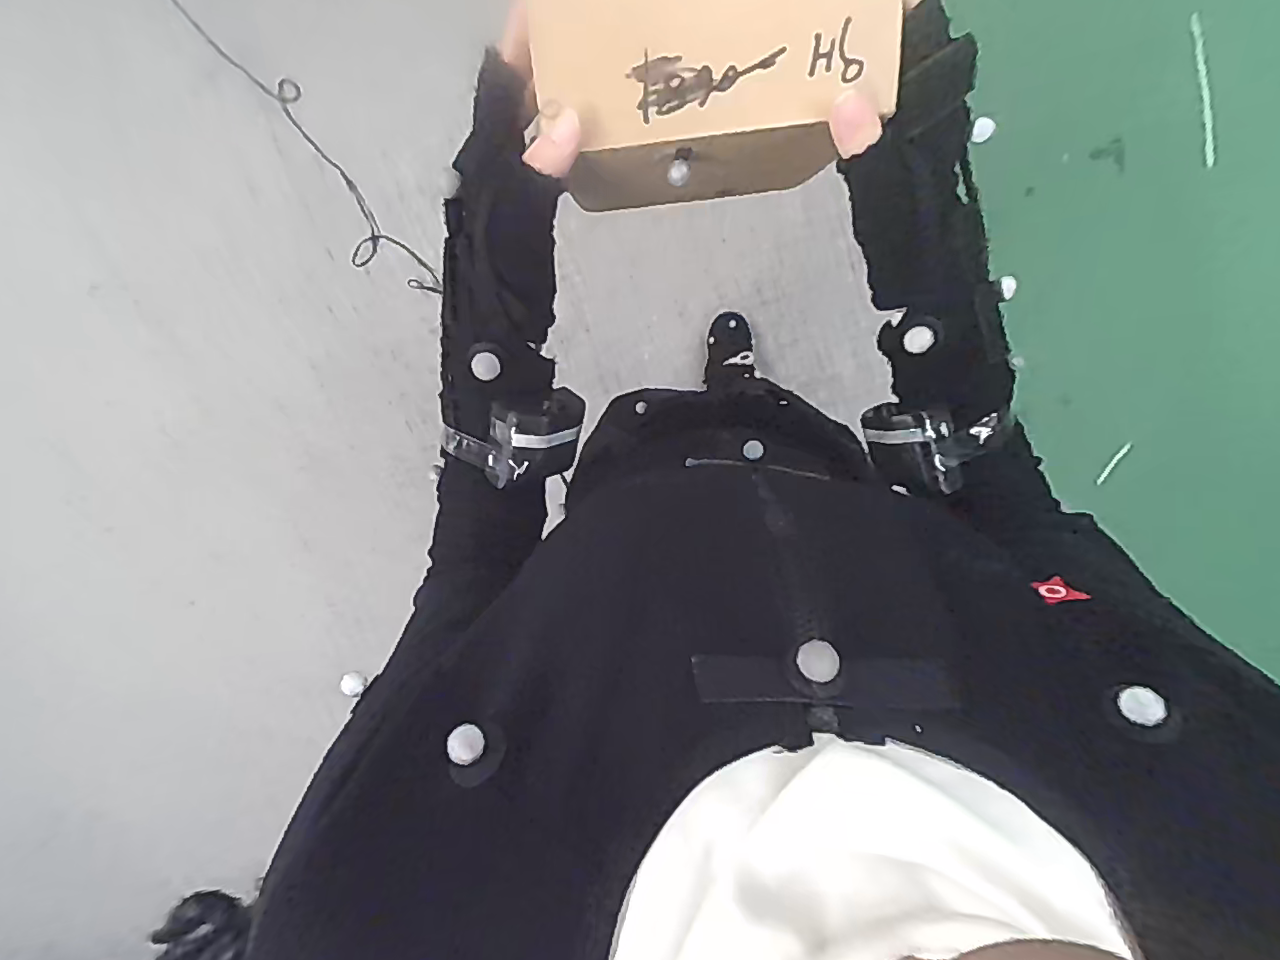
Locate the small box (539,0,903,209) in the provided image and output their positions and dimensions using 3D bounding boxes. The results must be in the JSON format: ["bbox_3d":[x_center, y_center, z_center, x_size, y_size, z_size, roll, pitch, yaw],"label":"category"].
[{"bbox_3d":[0.028,-0.275,0.309,0.168,0.176,0.179,-9,108,2],"label":"small box"}]
